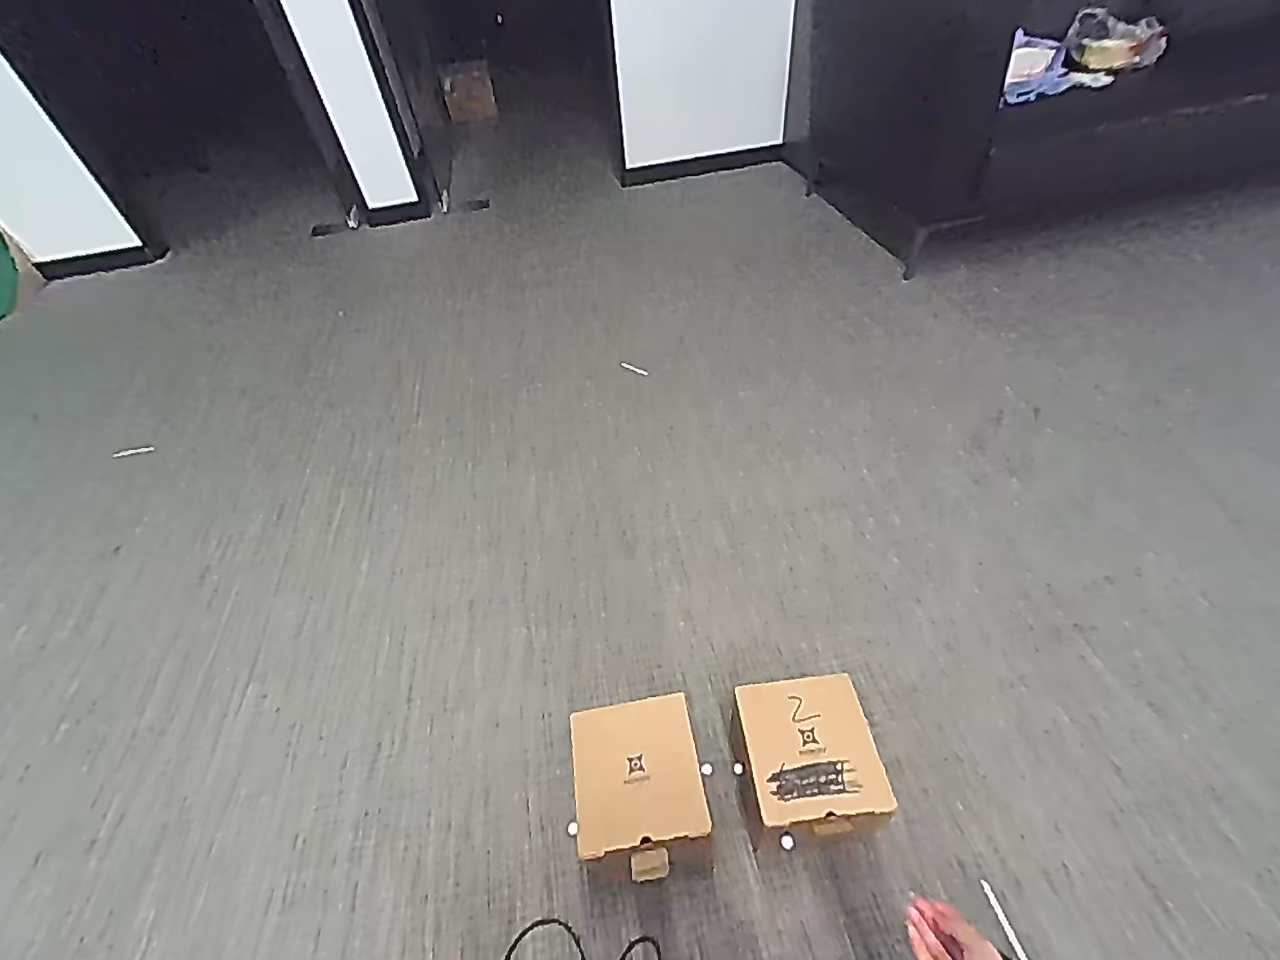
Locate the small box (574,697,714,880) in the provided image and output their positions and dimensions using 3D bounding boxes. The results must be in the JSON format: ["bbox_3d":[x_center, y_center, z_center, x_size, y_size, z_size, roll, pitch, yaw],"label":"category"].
[{"bbox_3d":[0.003,0.438,0.767,0.168,0.176,0.179,-10,47,-2],"label":"small box"}]
